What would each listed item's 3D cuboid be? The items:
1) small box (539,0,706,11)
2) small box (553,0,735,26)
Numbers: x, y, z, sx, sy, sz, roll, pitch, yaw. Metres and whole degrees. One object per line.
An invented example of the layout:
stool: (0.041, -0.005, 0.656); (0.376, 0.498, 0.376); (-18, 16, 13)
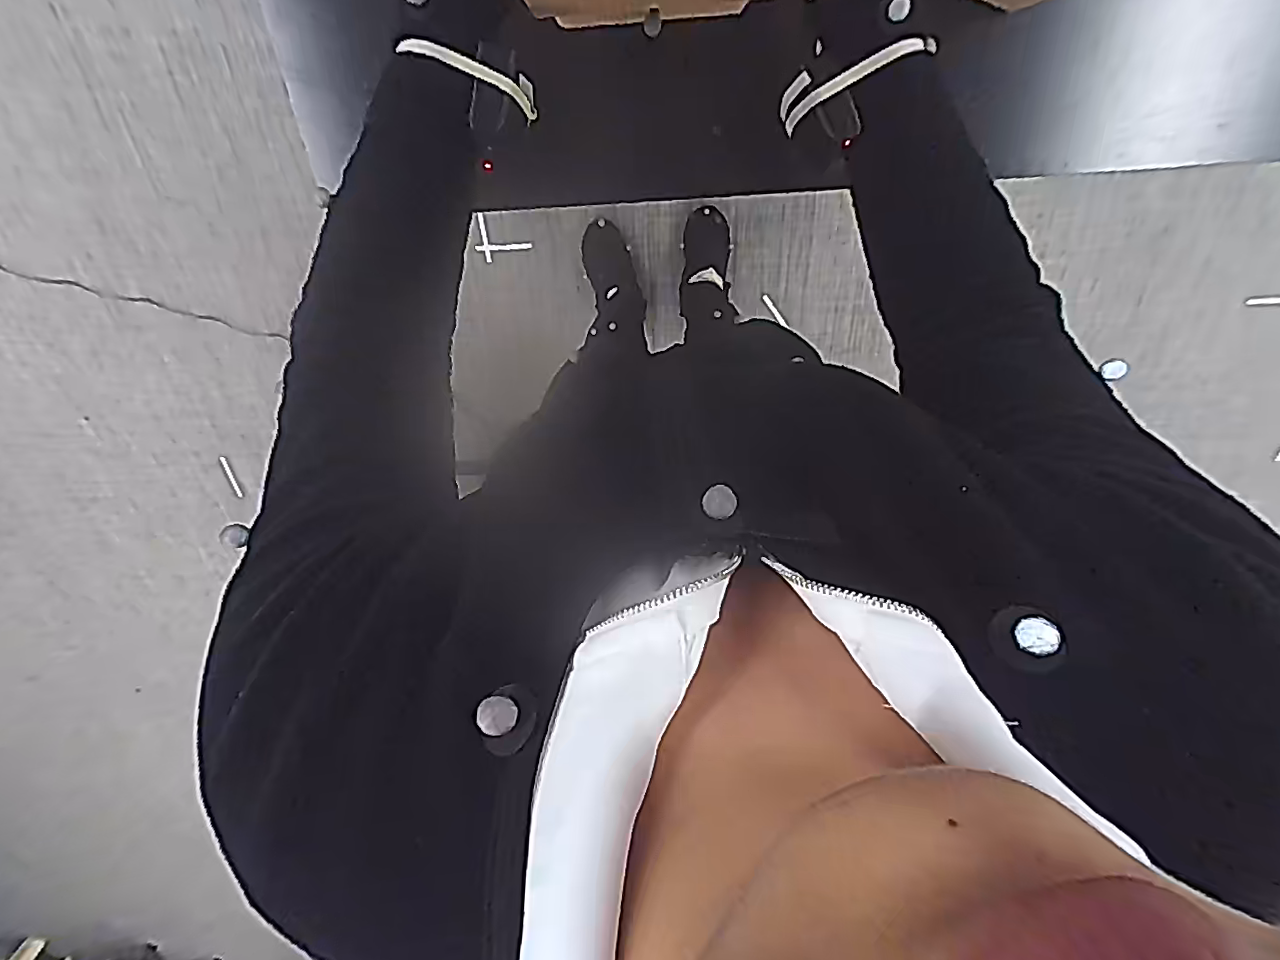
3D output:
small box: (0.006, -0.374, 0.283); (0.179, 0.176, 0.168); (-4, 121, 0)
small box: (0.004, -0.475, 0.415); (0.179, 0.176, 0.168); (-4, 120, 1)
